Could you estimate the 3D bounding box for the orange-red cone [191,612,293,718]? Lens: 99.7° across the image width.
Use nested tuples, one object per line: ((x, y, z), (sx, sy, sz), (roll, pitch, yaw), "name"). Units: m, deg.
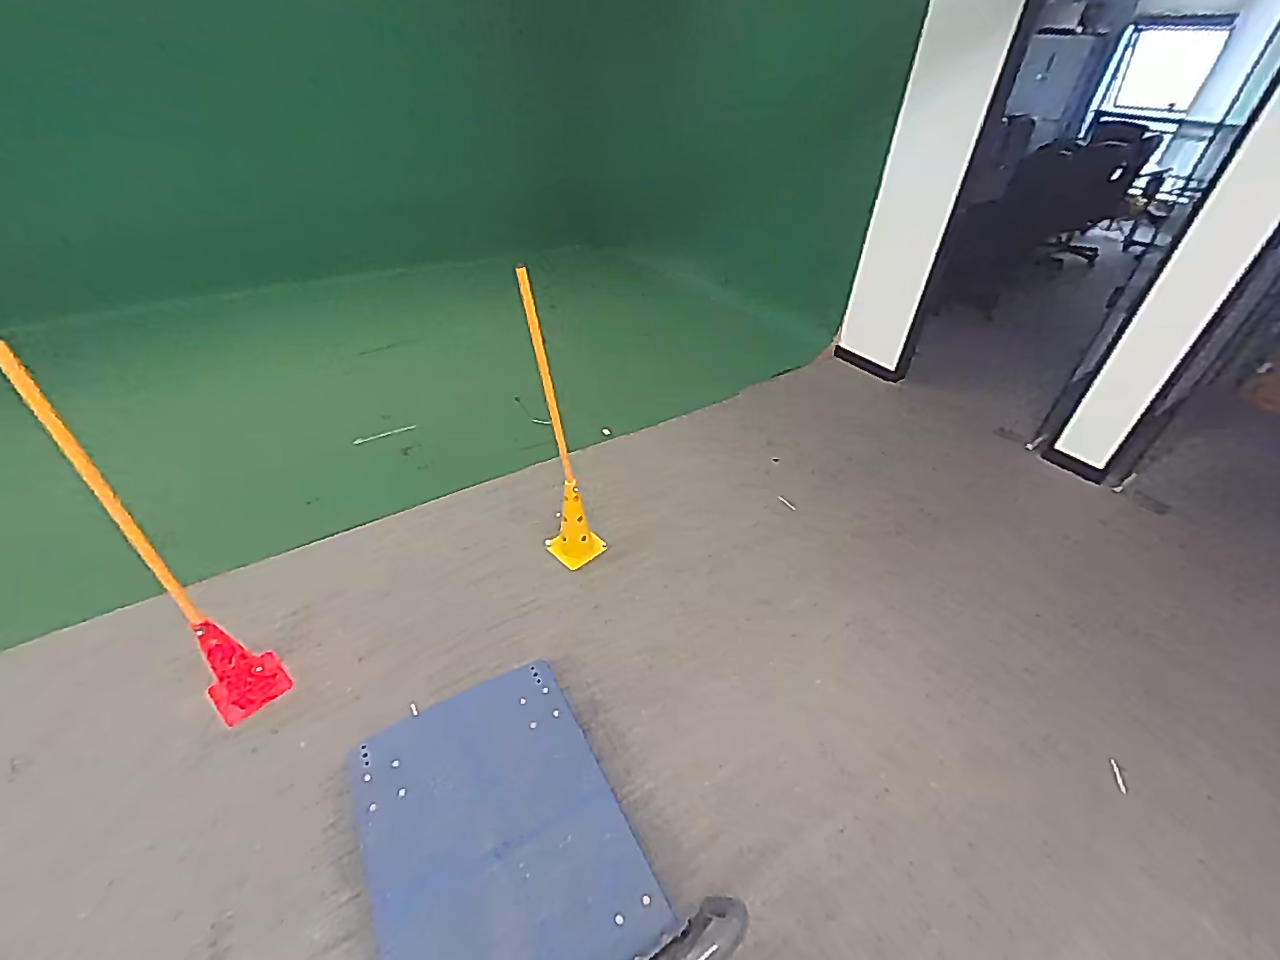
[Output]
((-1.258, 0.524, 1.646), (0.198, 0.360, 0.199), (30, 49, 31), "orange-red cone")
